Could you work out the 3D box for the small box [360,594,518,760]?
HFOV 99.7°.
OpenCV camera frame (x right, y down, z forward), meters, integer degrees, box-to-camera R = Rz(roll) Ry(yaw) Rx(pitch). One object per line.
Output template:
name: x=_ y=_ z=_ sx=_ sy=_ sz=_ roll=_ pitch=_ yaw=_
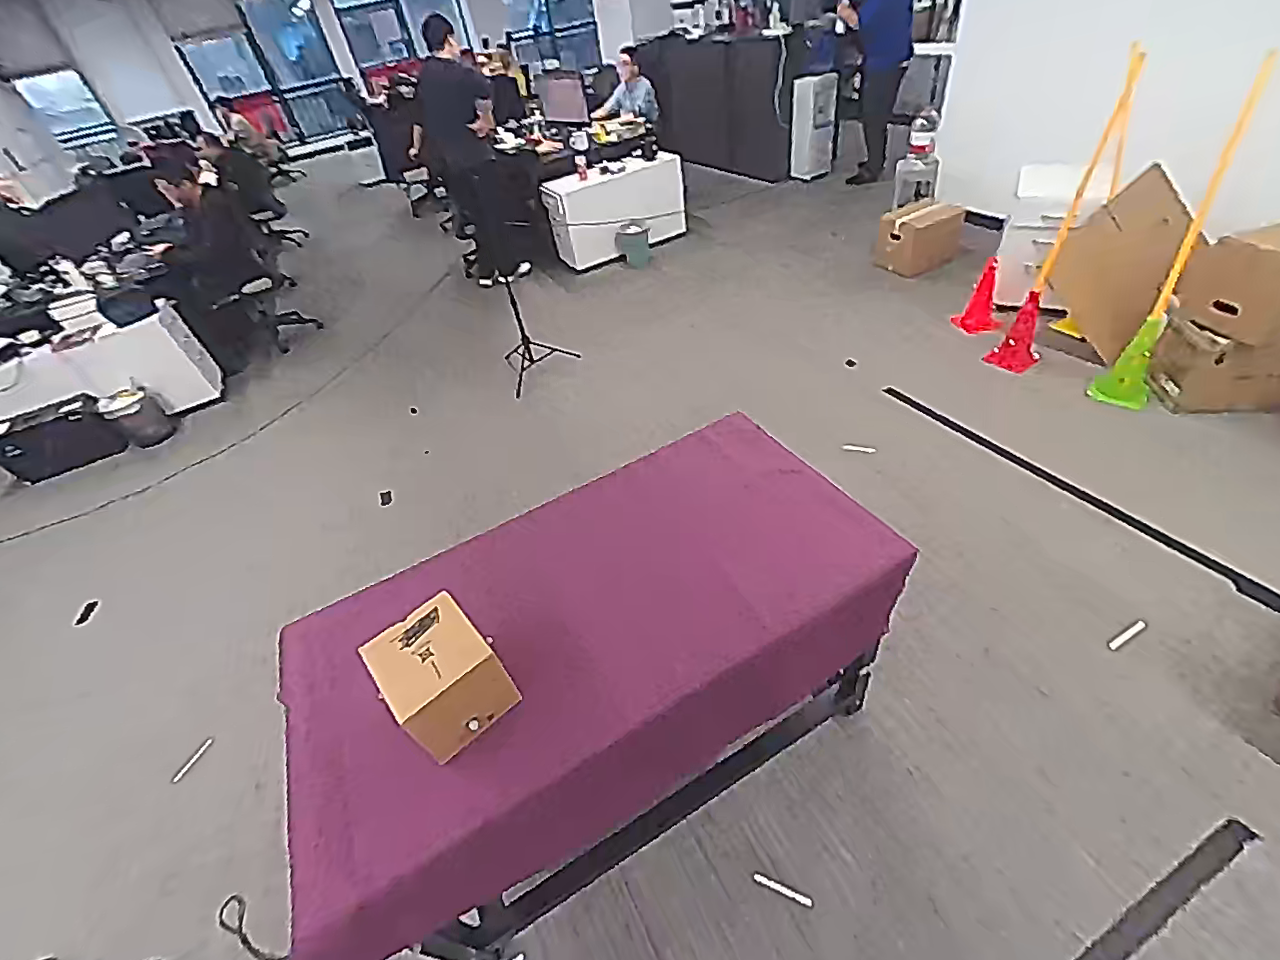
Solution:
small box: x=-0.339 y=0.339 z=0.930 sx=0.168 sy=0.176 sz=0.179 roll=-37 pitch=49 yaw=-24
